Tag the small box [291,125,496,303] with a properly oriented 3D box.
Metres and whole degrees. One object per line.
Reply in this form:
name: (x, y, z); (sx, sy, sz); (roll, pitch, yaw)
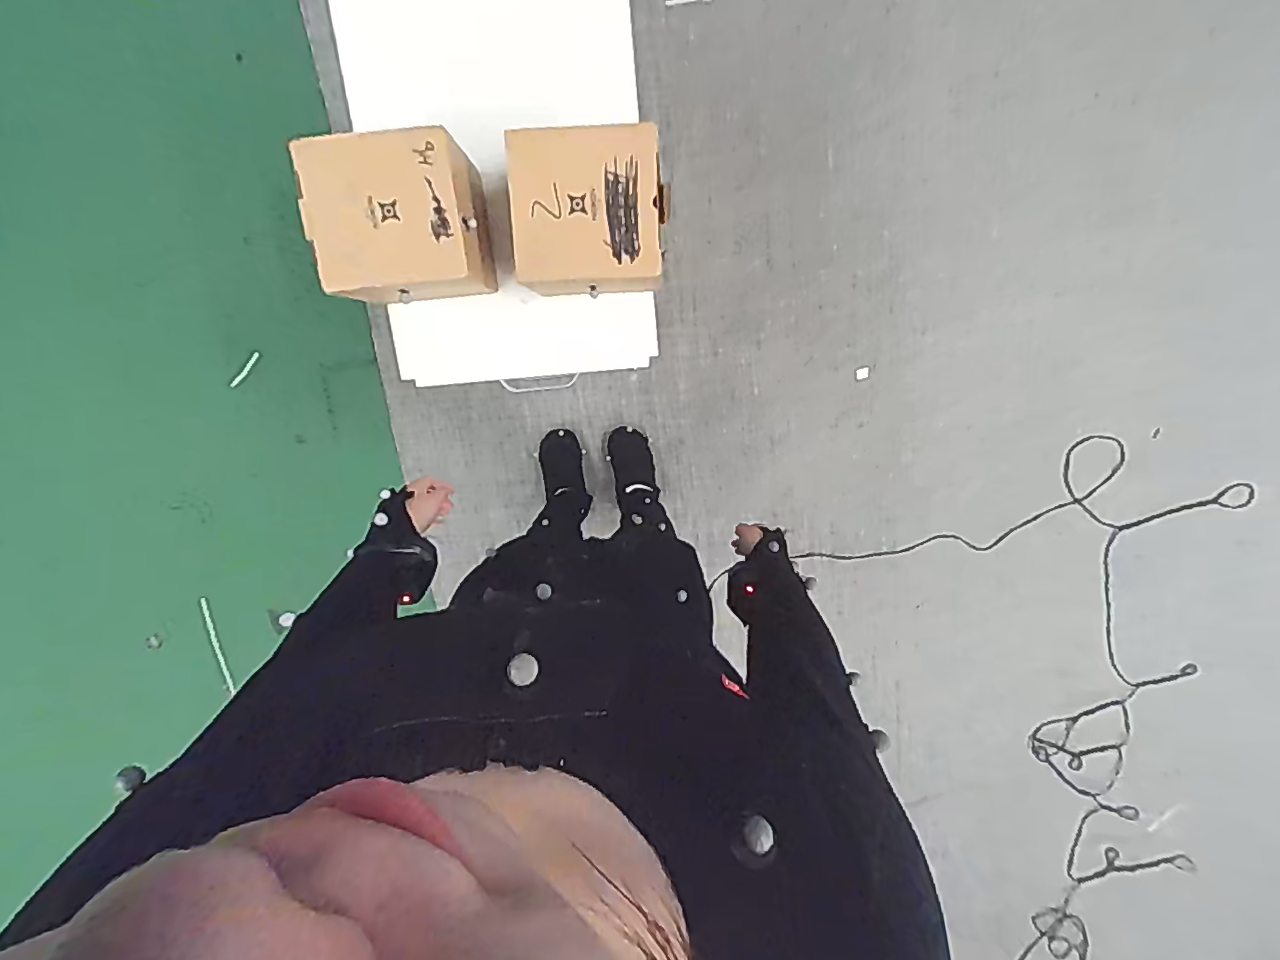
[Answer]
small box: (-0.301, -0.328, 0.700); (0.179, 0.176, 0.168); (-6, 103, -1)
